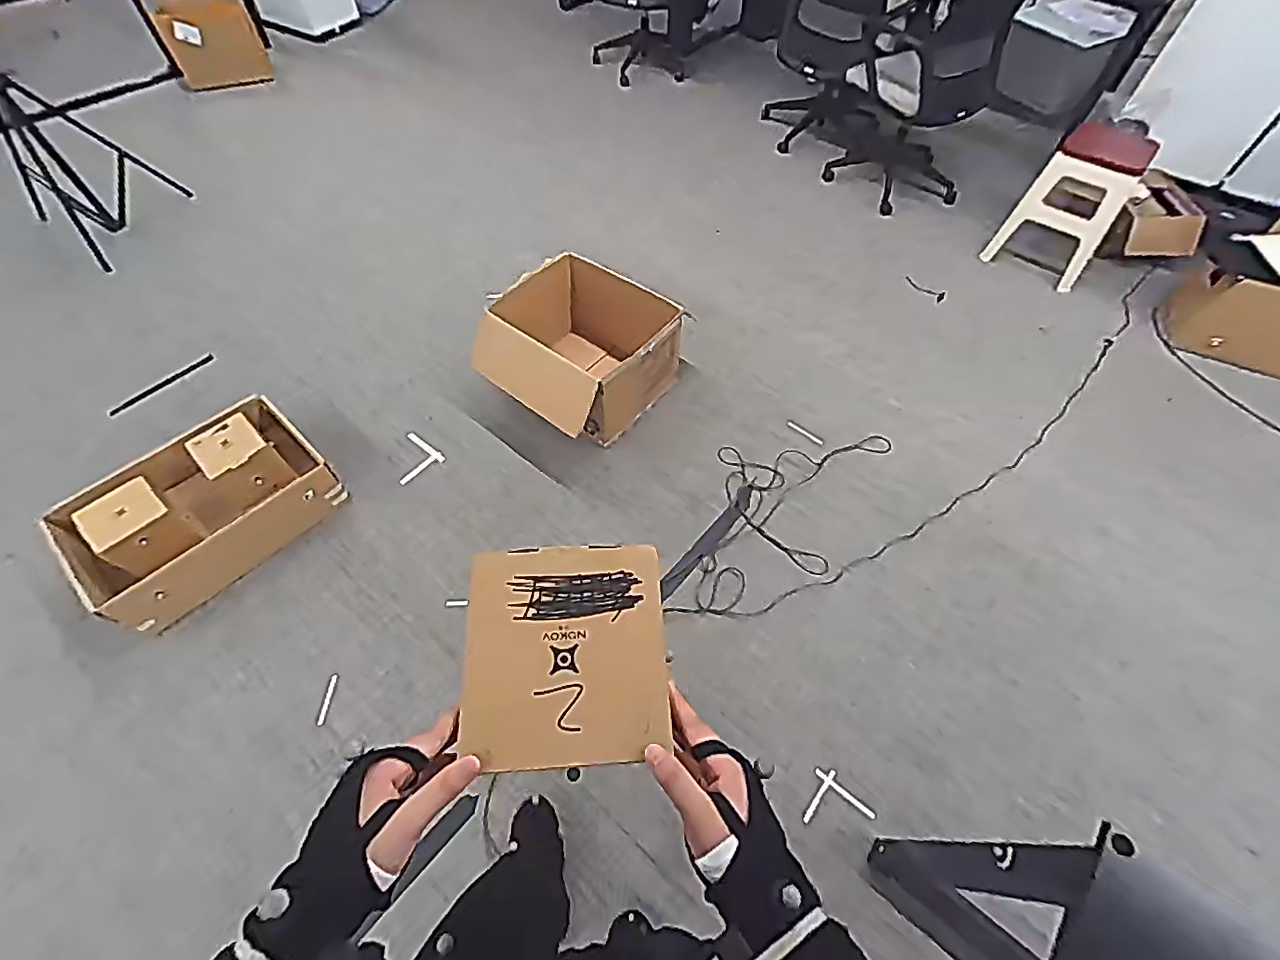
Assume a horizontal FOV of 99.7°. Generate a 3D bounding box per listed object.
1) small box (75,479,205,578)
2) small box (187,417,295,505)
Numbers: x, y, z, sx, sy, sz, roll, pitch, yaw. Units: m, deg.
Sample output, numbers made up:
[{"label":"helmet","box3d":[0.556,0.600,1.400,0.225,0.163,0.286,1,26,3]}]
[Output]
[{"label":"small box","box3d":[-1.362,0.139,1.484,0.168,0.176,0.179,38,62,19]},{"label":"small box","box3d":[-1.178,-0.047,1.610,0.179,0.176,0.168,40,65,20]}]
